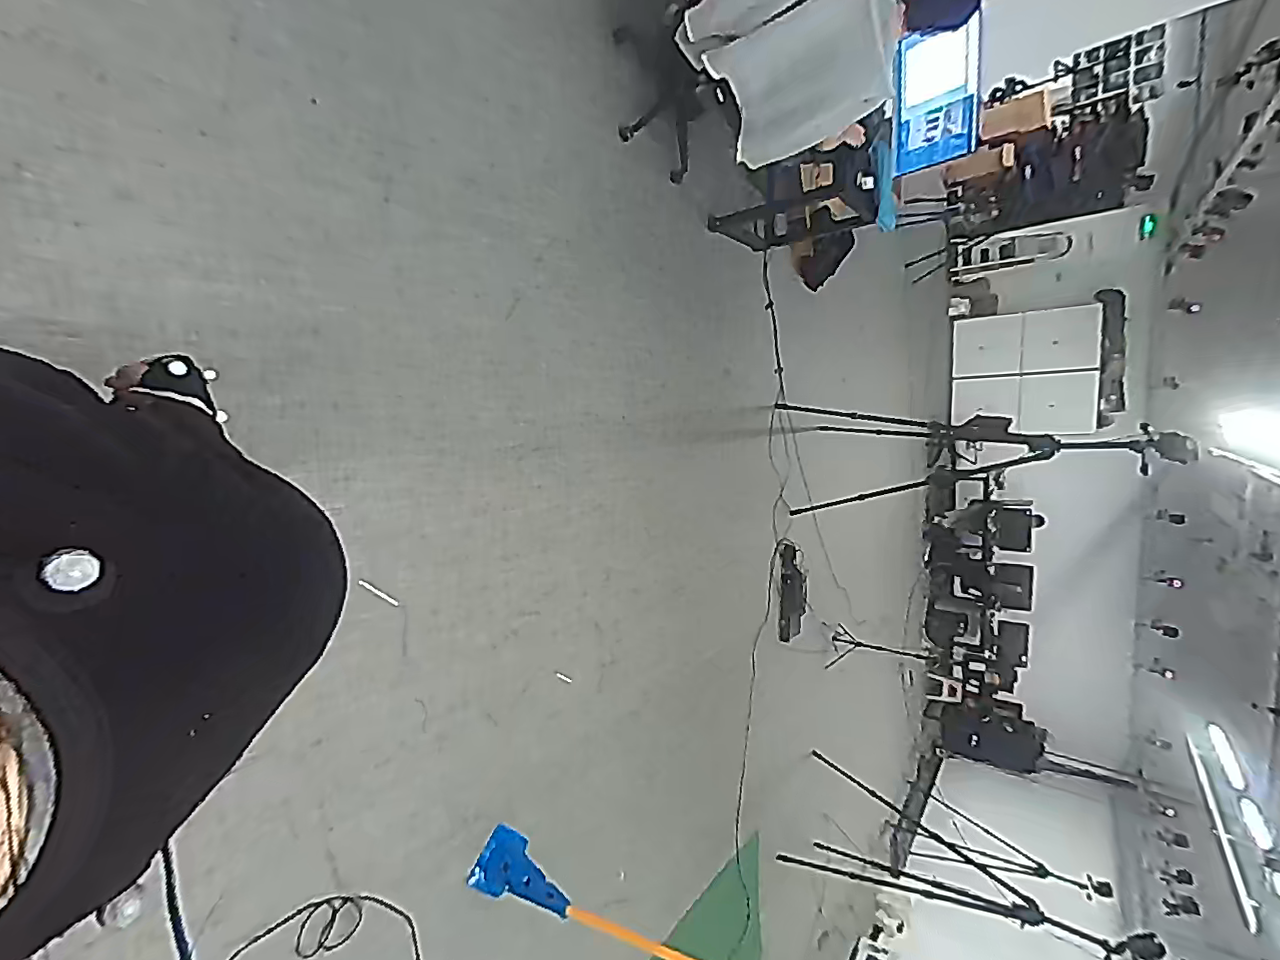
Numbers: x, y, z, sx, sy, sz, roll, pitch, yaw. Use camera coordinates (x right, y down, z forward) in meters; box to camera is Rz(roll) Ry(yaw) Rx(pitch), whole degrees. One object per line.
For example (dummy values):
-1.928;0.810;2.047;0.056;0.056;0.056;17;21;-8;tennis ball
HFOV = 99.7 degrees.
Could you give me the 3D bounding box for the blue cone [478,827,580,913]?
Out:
-0.356;1.362;1.838;0.192;0.380;0.193;56;49;-36;blue cone
